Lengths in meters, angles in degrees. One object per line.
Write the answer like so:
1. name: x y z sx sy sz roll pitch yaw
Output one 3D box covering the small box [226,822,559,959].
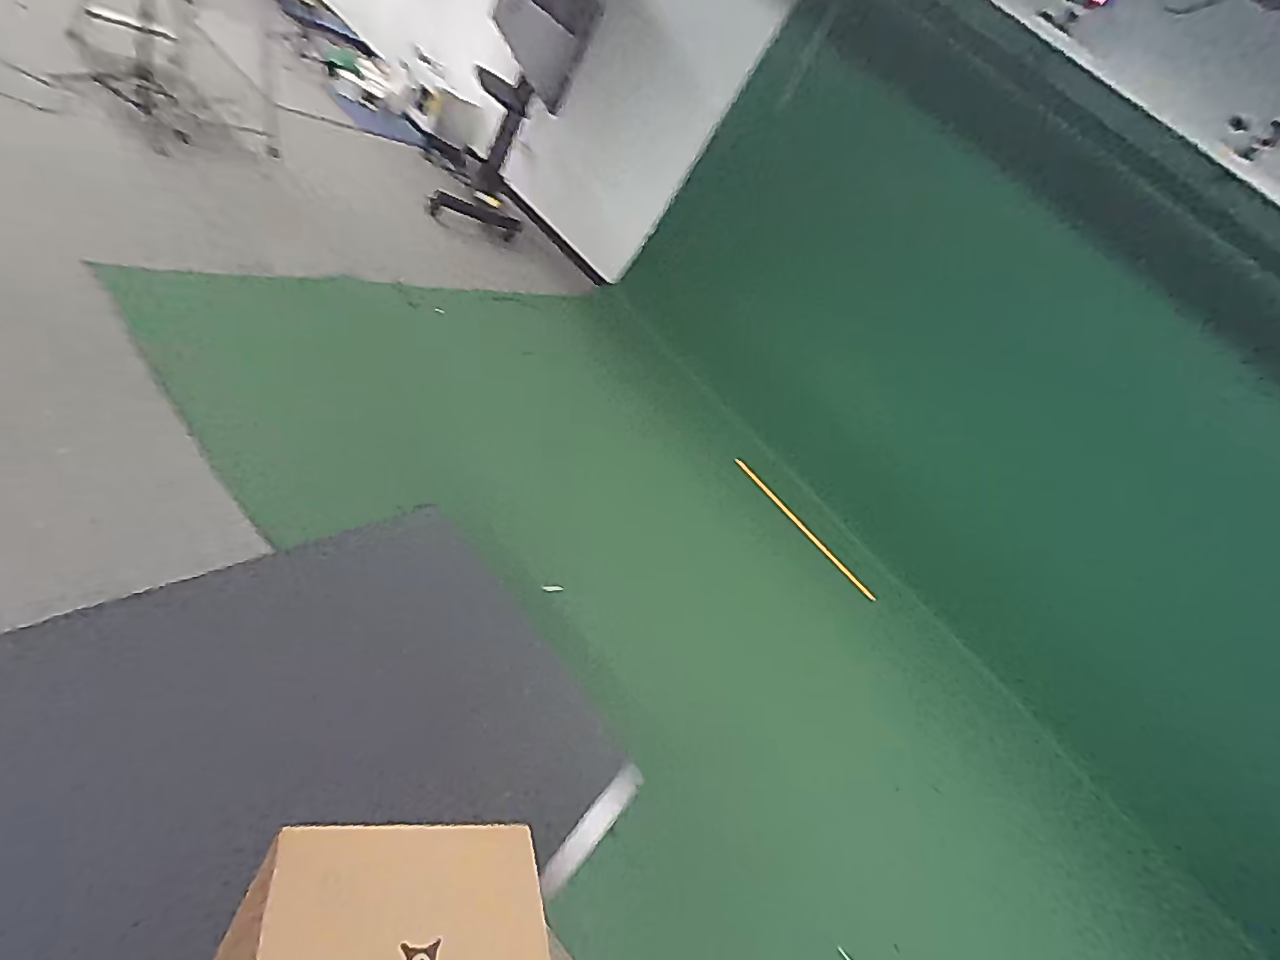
1. small box: -0.155 0.335 0.305 0.168 0.176 0.179 24 18 -29
